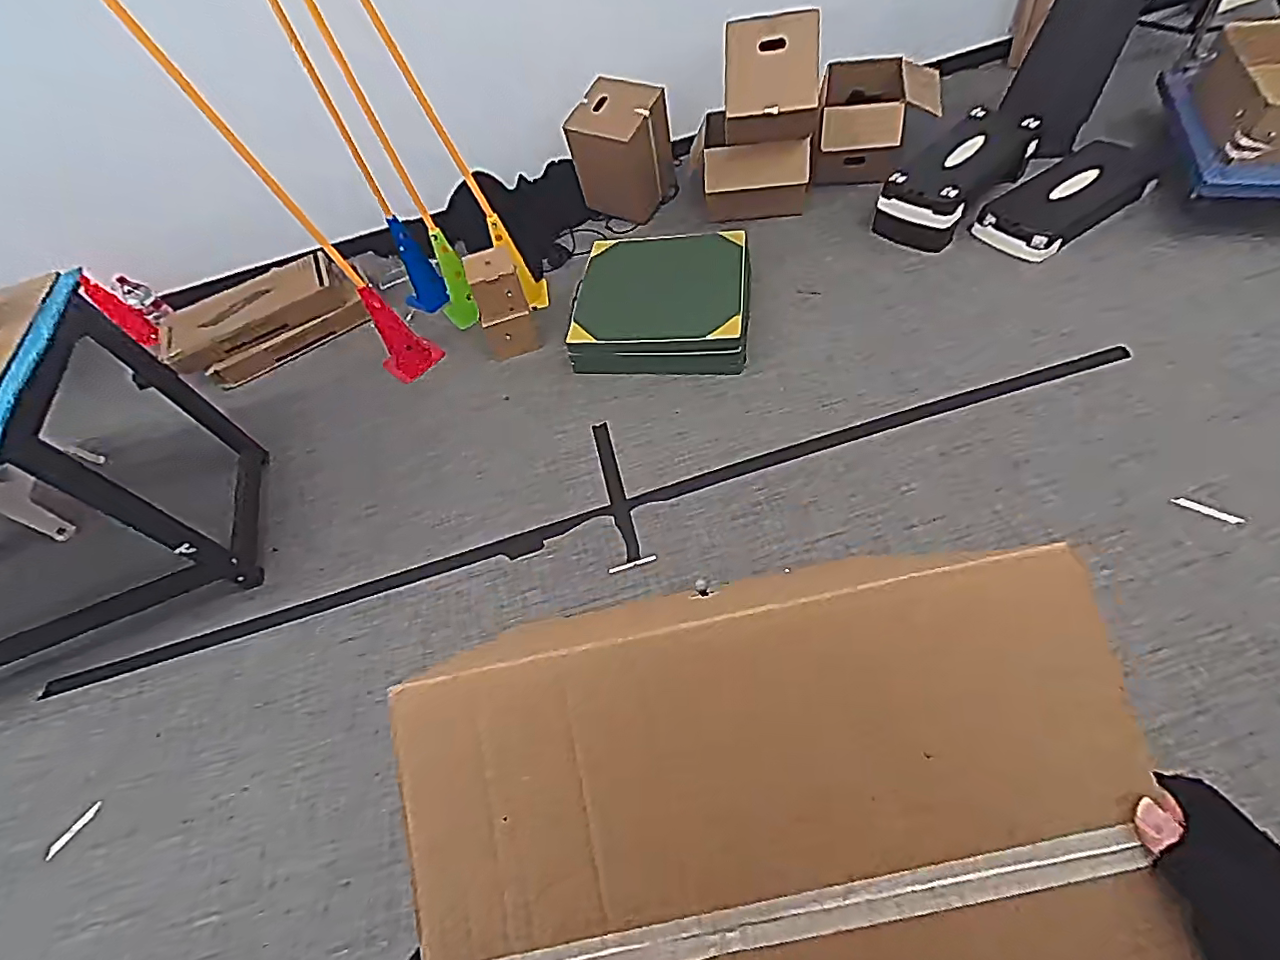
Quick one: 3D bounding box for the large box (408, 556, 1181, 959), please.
[{"bbox_3d":[0.092,0.258,0.450,0.408,0.320,0.320,-13,81,0],"label":"large box"}]
